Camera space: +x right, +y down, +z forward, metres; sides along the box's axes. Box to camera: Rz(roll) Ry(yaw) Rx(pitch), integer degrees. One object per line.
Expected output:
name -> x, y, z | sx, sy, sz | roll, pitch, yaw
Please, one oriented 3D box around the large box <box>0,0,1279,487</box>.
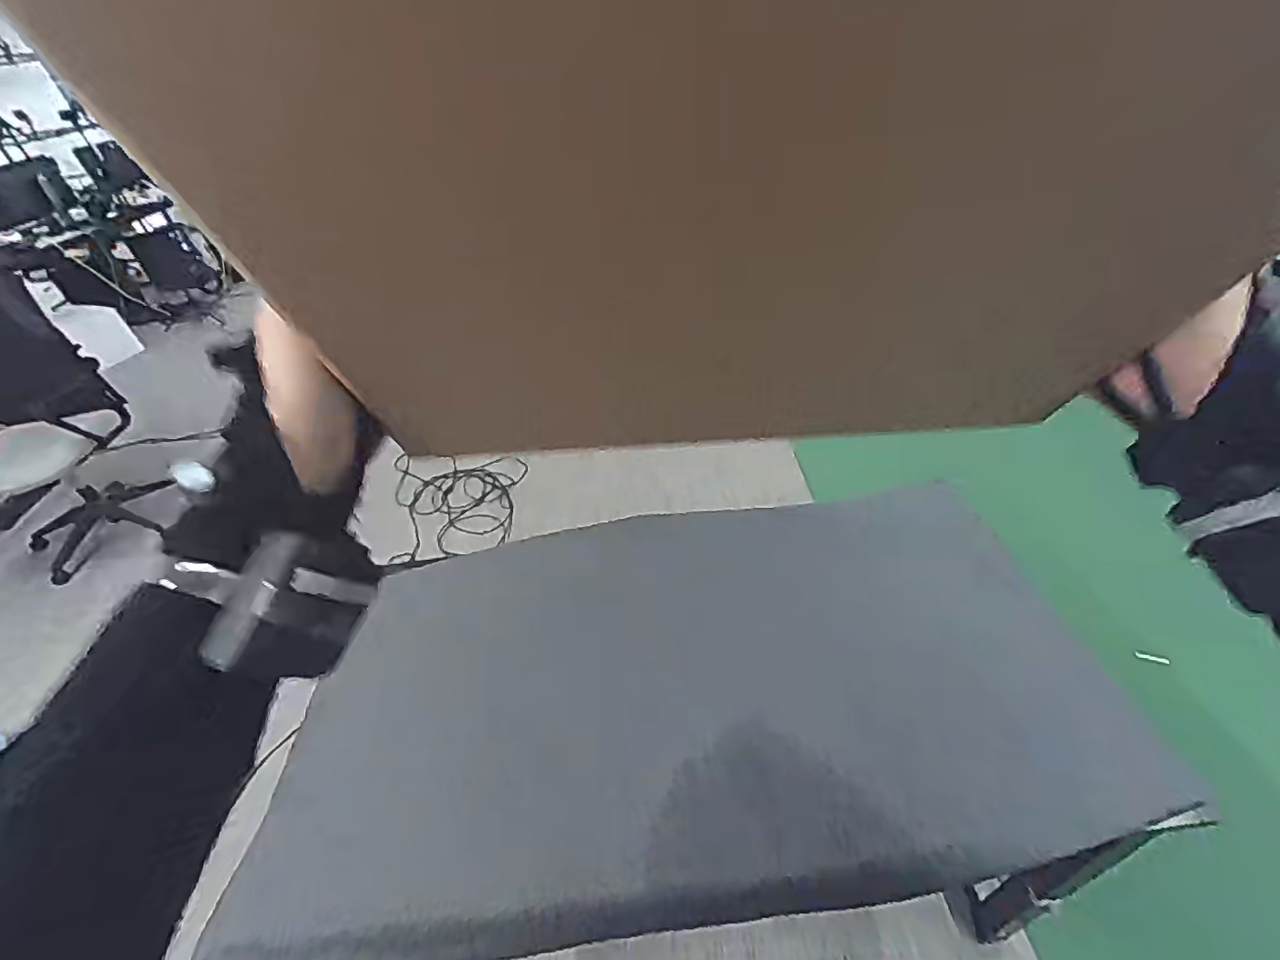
large box -> 0.043, -0.206, 0.286 | 0.408, 0.320, 0.320 | -4, 68, -3
